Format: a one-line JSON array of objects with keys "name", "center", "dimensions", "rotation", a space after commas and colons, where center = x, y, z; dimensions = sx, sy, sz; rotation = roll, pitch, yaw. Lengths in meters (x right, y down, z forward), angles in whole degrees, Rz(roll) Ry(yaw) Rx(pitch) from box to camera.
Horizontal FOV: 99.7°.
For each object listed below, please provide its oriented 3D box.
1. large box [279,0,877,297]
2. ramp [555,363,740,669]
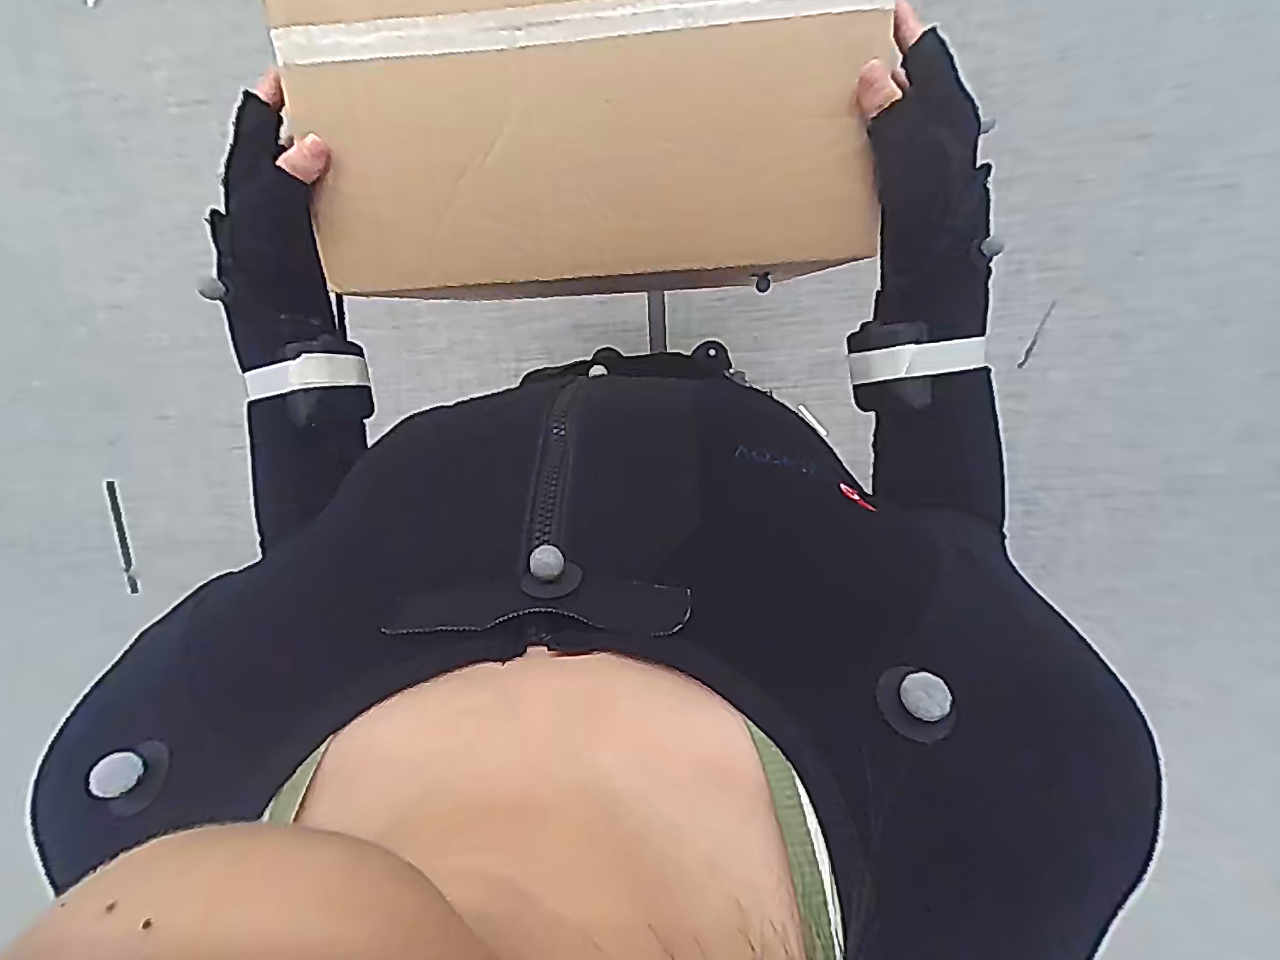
[{"name": "large box", "center": [-0.037, -0.346, 0.503], "dimensions": [0.408, 0.320, 0.320], "rotation": [-3, 107, 2]}, {"name": "ramp", "center": [0.052, 0.162, 1.619], "dimensions": [0.509, 0.206, 0.991], "rotation": [-5, 102, 3]}]
